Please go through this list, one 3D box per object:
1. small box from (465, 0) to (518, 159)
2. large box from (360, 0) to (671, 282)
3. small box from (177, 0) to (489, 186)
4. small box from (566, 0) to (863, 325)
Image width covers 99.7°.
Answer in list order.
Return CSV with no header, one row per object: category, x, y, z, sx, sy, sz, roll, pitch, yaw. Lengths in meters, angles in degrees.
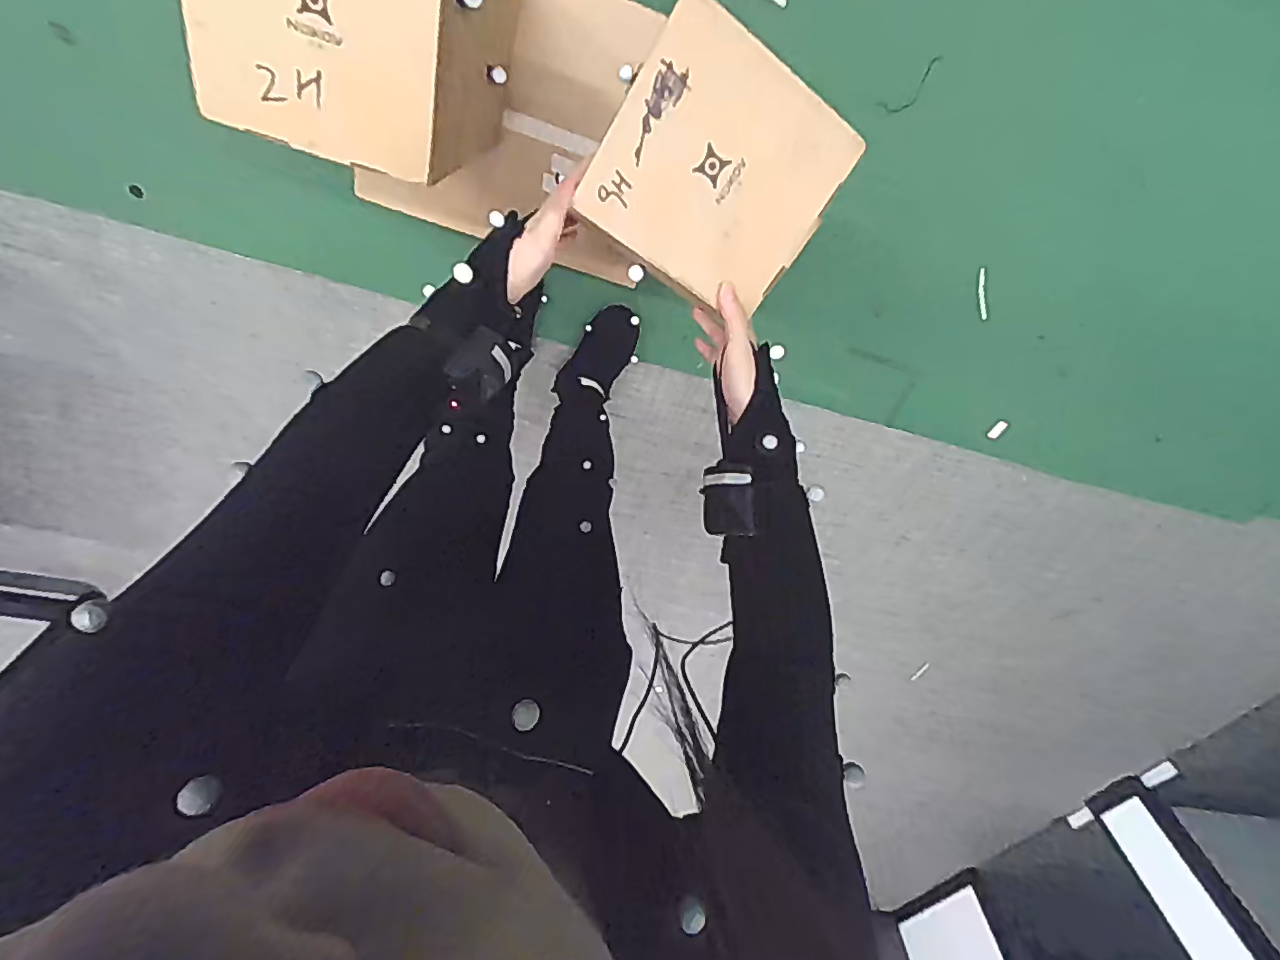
small box,-0.228,-0.461,0.554,0.168,0.176,0.179,14,124,-12
large box,-0.149,-0.542,0.799,0.408,0.320,0.320,14,126,-12
small box,-0.222,-0.362,0.423,0.168,0.176,0.179,13,125,-11
small box,0.049,-0.267,0.482,0.179,0.176,0.168,29,107,-19
